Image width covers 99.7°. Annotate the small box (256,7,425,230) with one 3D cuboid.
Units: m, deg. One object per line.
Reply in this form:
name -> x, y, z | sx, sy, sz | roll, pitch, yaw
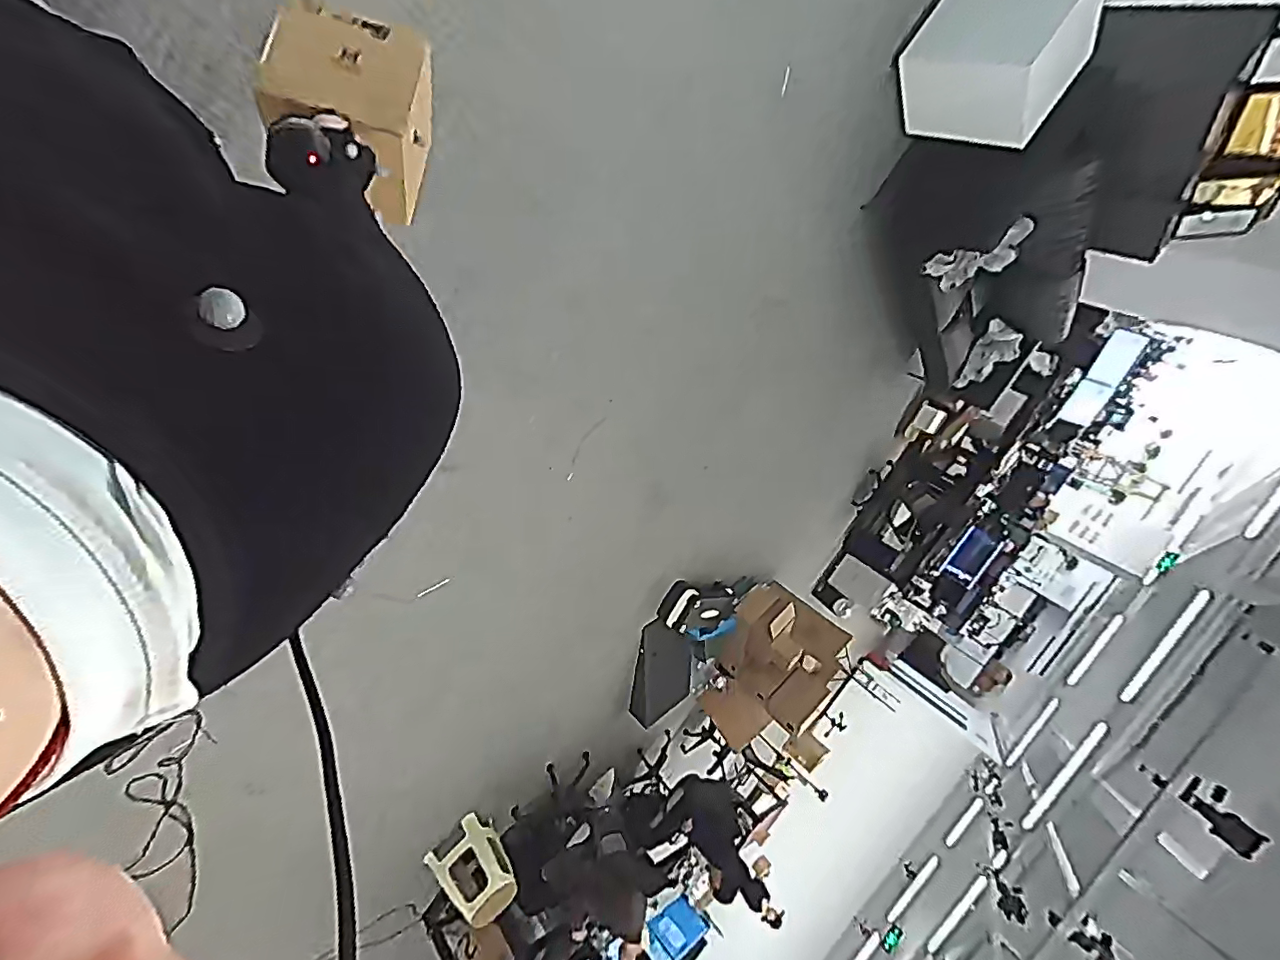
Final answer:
small box -> -0.399, -0.487, 0.755 | 0.168, 0.179, 0.176 | 6, 162, -18
